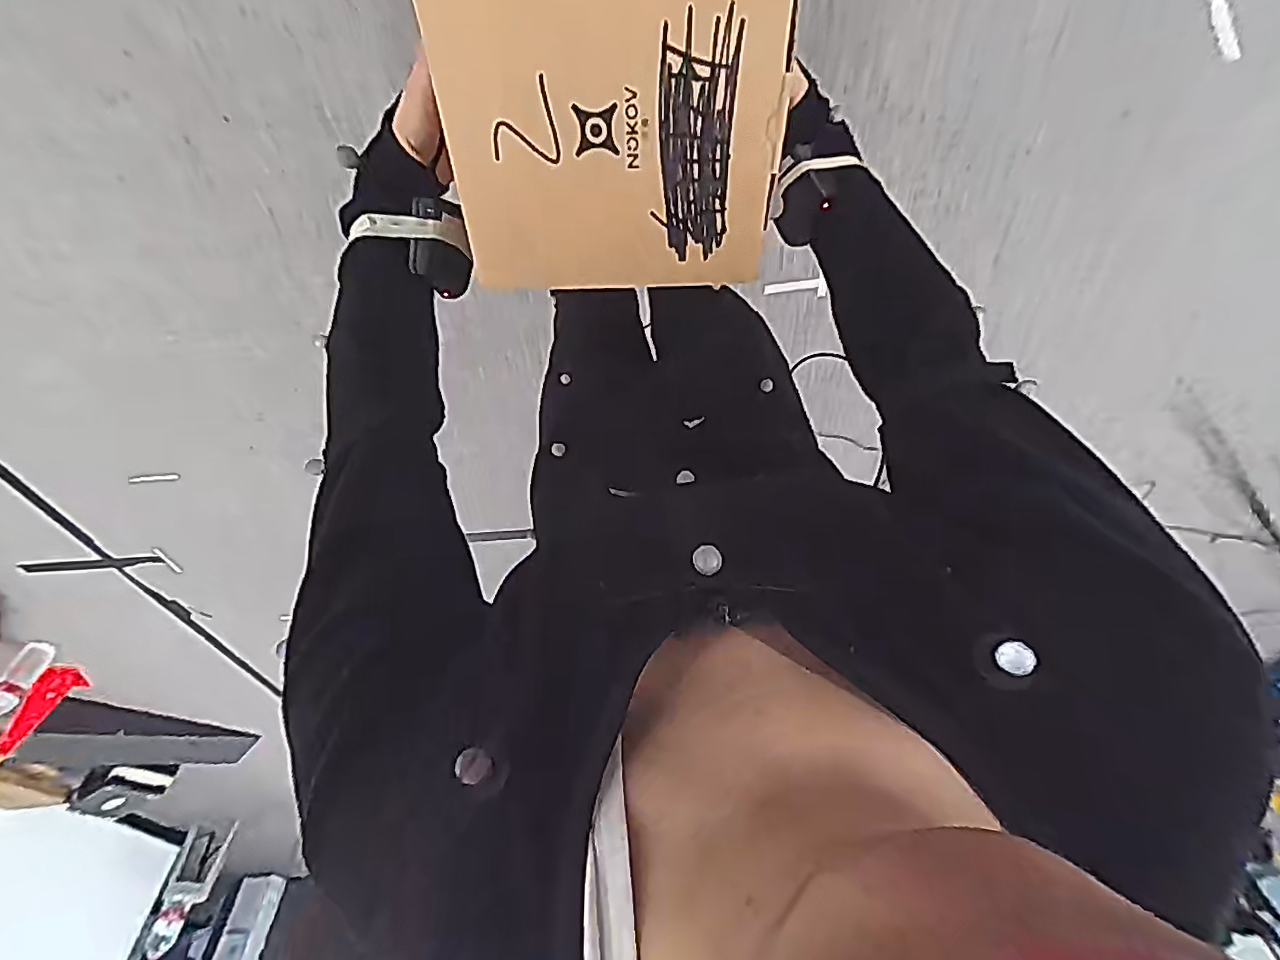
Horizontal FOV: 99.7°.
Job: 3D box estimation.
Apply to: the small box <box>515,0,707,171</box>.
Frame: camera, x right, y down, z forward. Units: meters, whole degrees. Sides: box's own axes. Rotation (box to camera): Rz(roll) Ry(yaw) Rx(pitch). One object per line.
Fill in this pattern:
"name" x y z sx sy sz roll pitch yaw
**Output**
"small box" -0.027 -0.463 0.577 0.168 0.176 0.179 -11 133 5
